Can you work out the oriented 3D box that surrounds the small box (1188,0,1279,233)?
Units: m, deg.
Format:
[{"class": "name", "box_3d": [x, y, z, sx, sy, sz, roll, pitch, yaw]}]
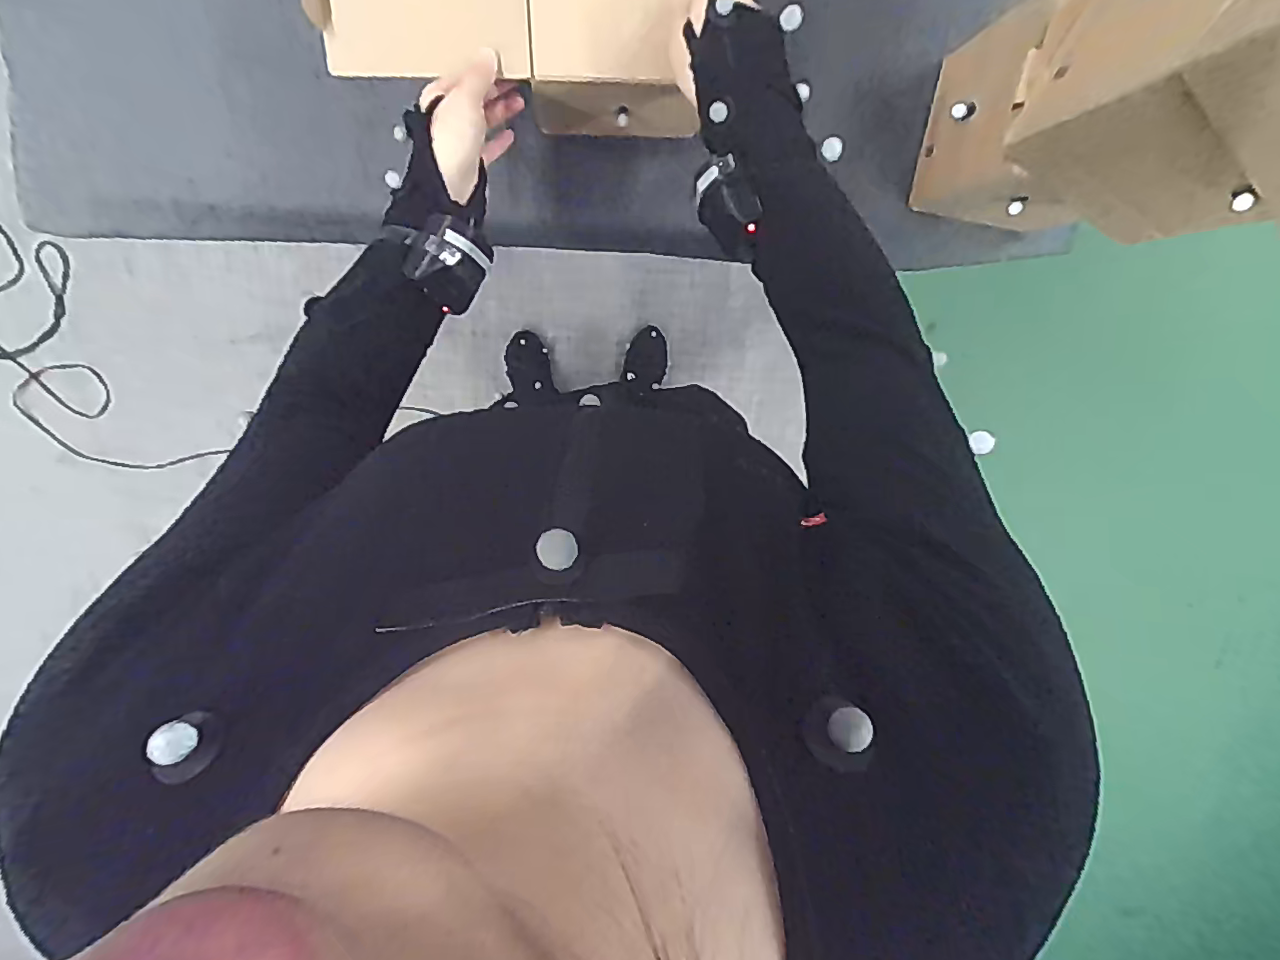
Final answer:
[{"class": "small box", "box_3d": [0.475, -0.249, 0.286, 0.179, 0.176, 0.168, 38, 98, -14]}]

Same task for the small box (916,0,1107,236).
[{"class": "small box", "box_3d": [0.440, -0.377, 0.589, 0.179, 0.176, 0.168, 7, 105, -7]}]

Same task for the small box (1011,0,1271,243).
[{"class": "small box", "box_3d": [0.460, -0.317, 0.438, 0.179, 0.176, 0.168, 27, 101, -14]}]
